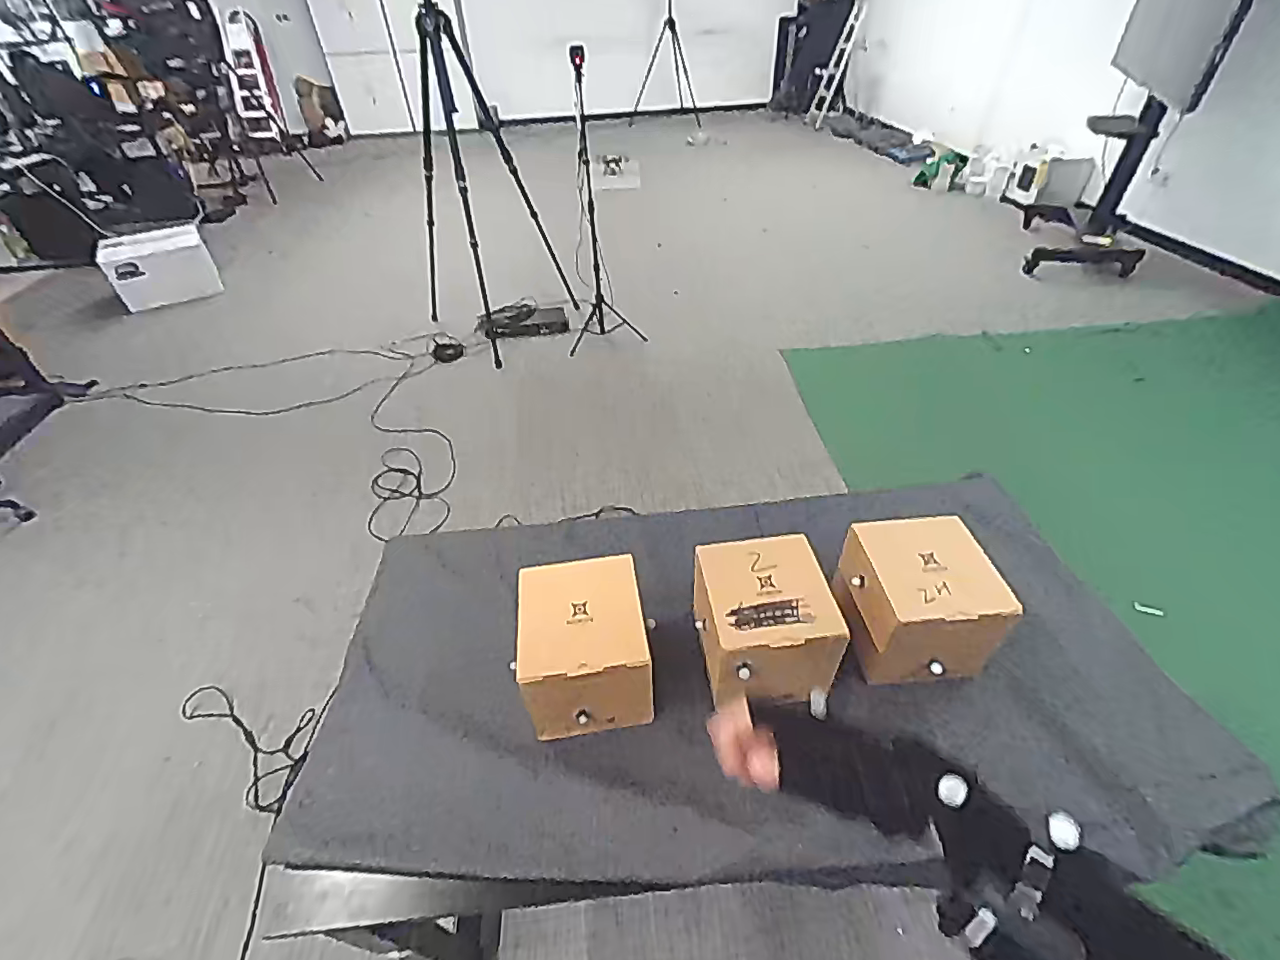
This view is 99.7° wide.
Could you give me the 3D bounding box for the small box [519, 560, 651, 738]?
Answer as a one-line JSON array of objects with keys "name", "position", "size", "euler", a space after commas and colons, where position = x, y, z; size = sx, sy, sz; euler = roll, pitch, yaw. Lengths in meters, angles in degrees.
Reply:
[{"name": "small box", "position": [-0.078, 0.242, 0.782], "size": [0.168, 0.176, 0.179], "euler": [-7, 43, -5]}]
